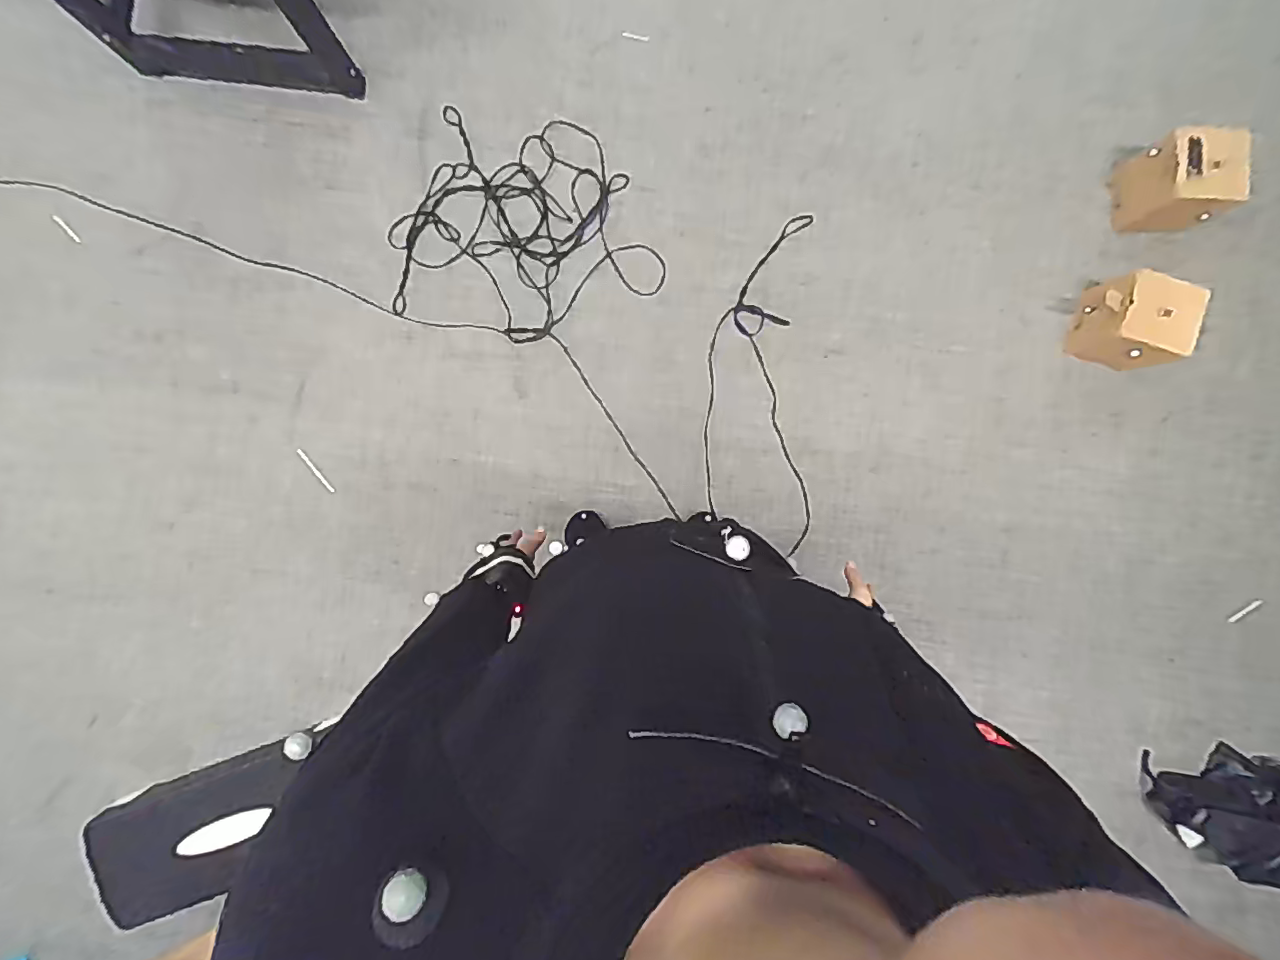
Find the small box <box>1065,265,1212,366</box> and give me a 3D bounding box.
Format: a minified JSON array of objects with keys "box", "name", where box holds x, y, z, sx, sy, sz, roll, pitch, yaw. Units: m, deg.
[{"box":[1.196,-0.388,1.309,0.179,0.176,0.168,17,89,0],"name":"small box"}]
